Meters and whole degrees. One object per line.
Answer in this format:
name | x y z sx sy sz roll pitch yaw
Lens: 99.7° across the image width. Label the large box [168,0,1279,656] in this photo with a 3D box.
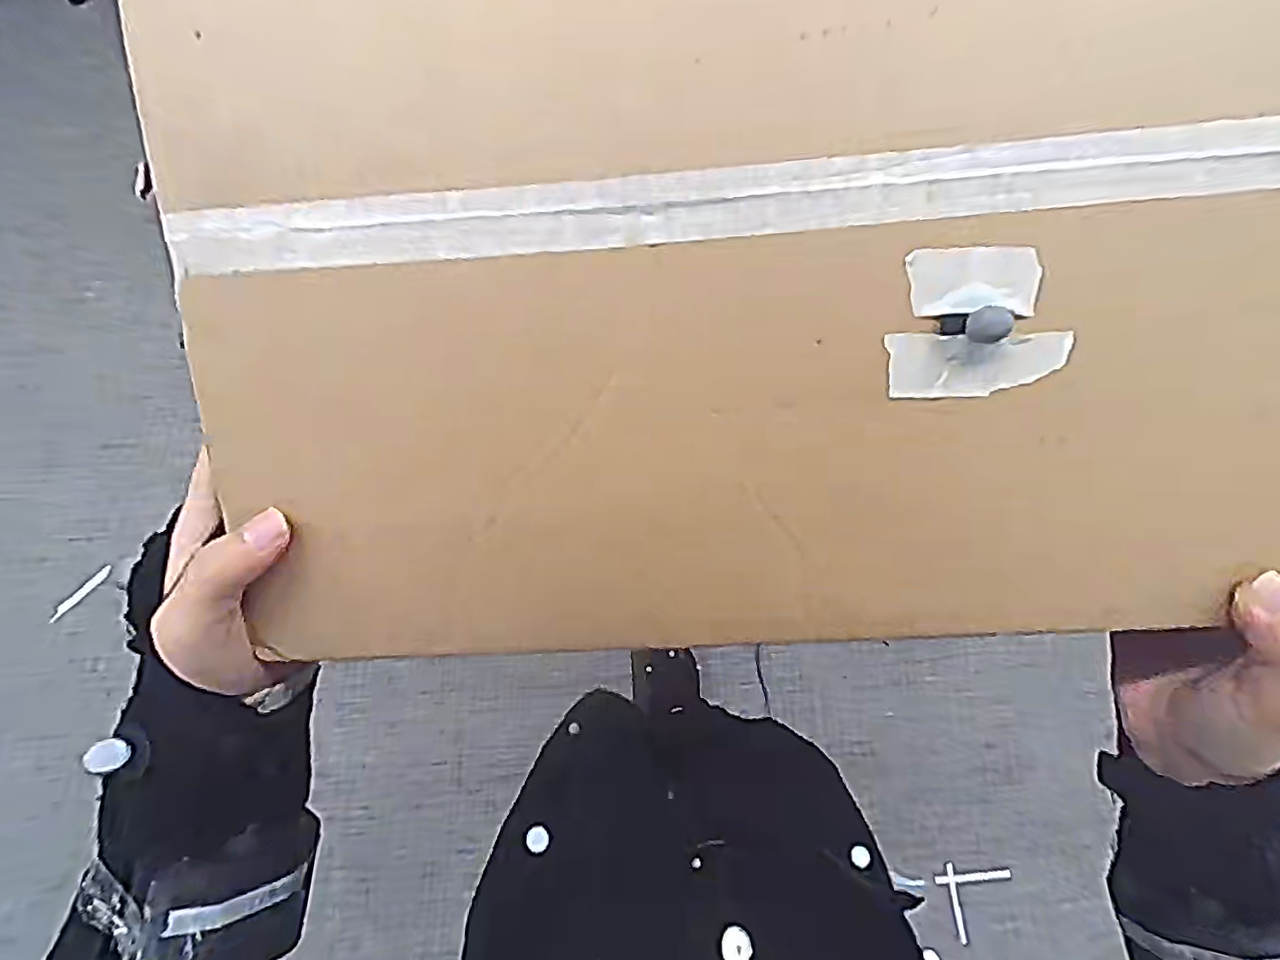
large box | 0.044 -0.115 0.338 0.408 0.320 0.320 -4 99 2
